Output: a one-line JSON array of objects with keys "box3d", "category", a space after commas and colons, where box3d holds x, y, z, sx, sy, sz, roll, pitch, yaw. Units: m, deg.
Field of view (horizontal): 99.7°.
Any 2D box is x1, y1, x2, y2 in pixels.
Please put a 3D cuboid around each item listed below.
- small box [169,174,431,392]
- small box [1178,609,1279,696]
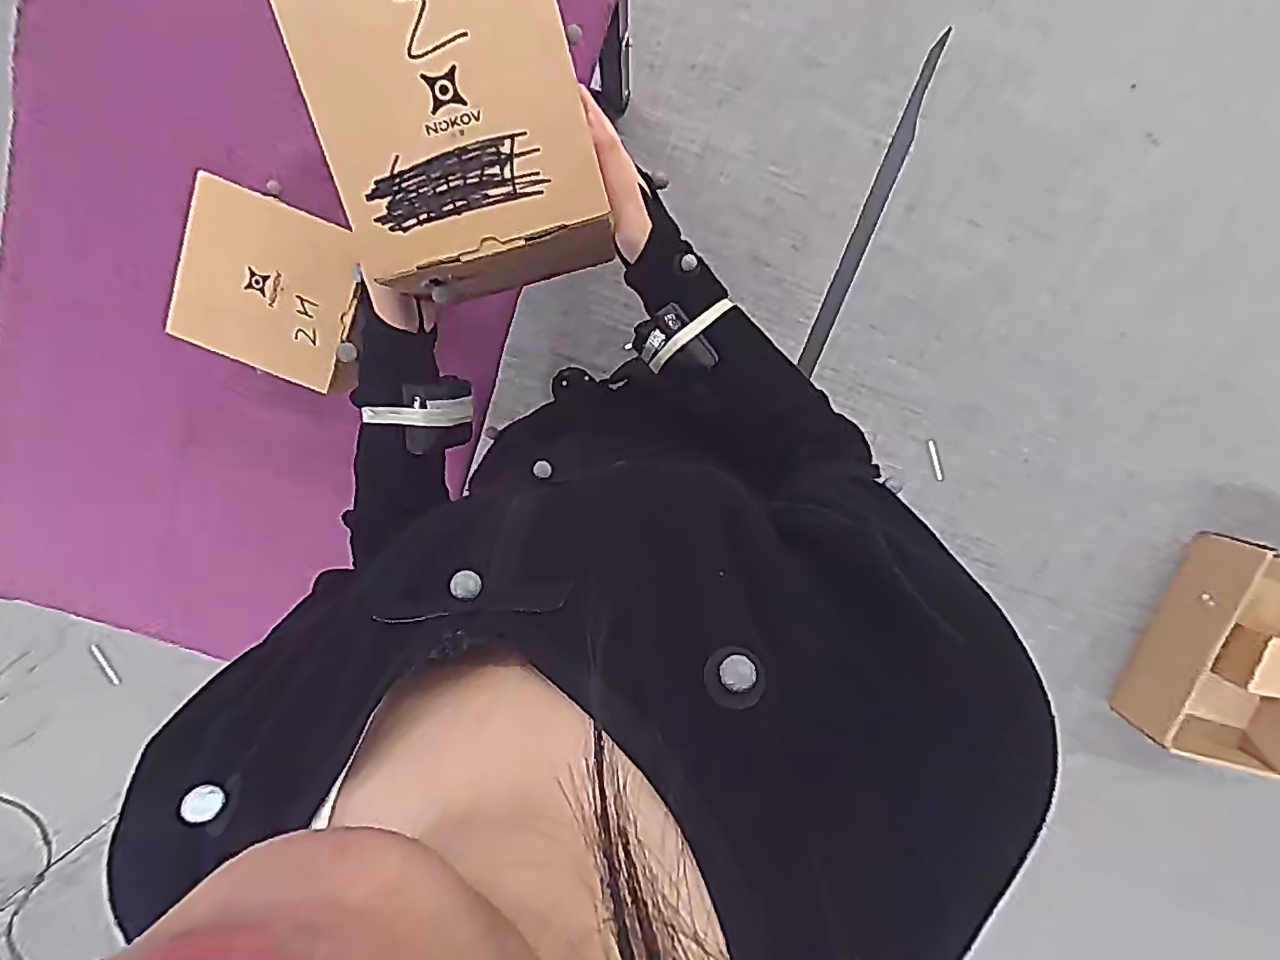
[{"box3d": [-0.374, -0.211, 0.624, 0.179, 0.176, 0.168, 21, 102, -5], "category": "small box"}, {"box3d": [1.700, 0.481, 1.522, 0.179, 0.176, 0.168, 10, 101, -3], "category": "small box"}]
